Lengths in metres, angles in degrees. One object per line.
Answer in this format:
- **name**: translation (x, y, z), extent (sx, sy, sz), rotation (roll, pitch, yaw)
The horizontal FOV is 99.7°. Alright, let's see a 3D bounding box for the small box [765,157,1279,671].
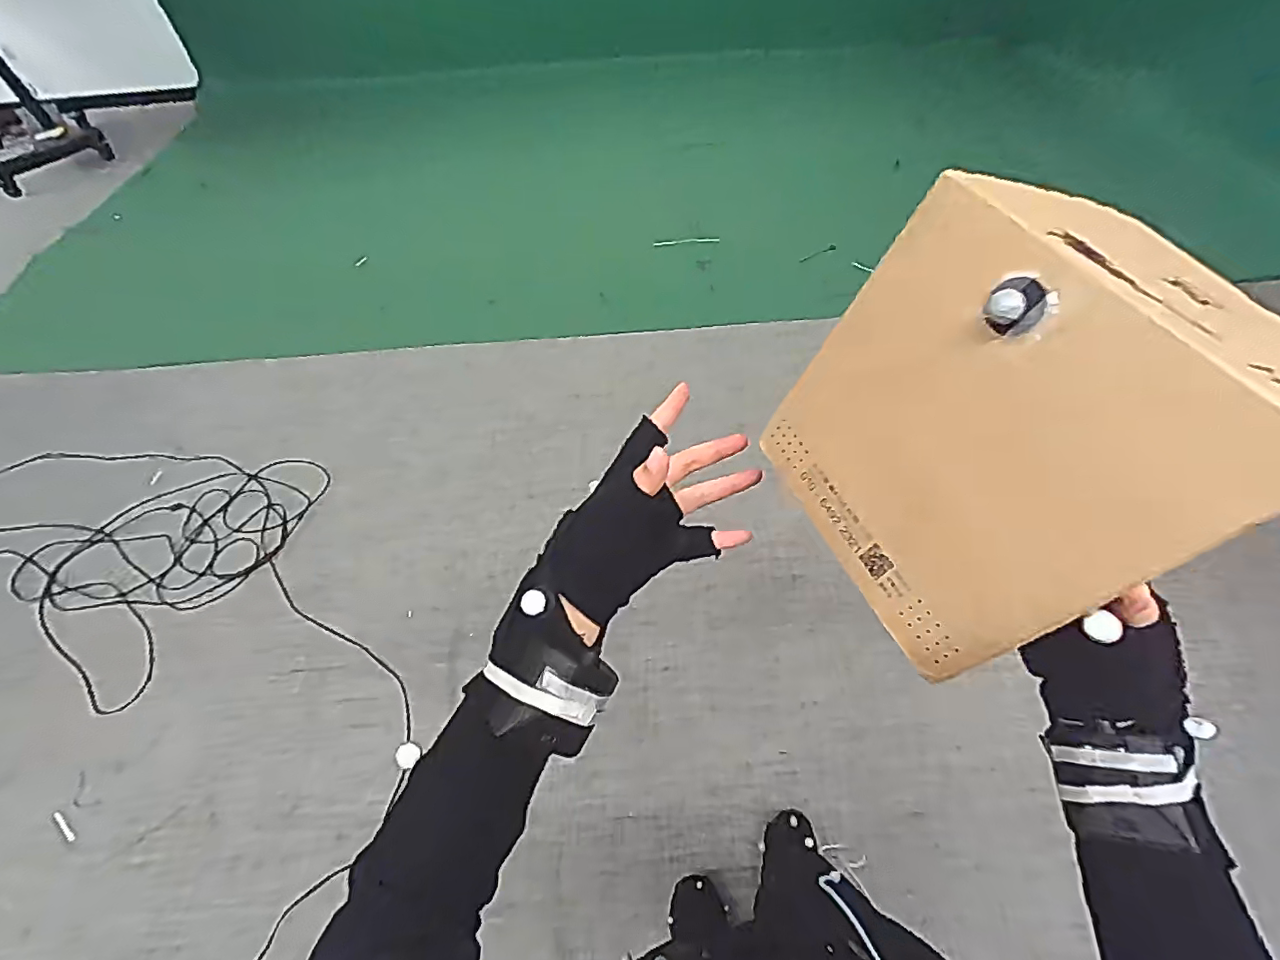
- **small box**: translation (0.201, -0.027, 0.281), extent (0.179, 0.176, 0.168), rotation (-8, 54, -31)
